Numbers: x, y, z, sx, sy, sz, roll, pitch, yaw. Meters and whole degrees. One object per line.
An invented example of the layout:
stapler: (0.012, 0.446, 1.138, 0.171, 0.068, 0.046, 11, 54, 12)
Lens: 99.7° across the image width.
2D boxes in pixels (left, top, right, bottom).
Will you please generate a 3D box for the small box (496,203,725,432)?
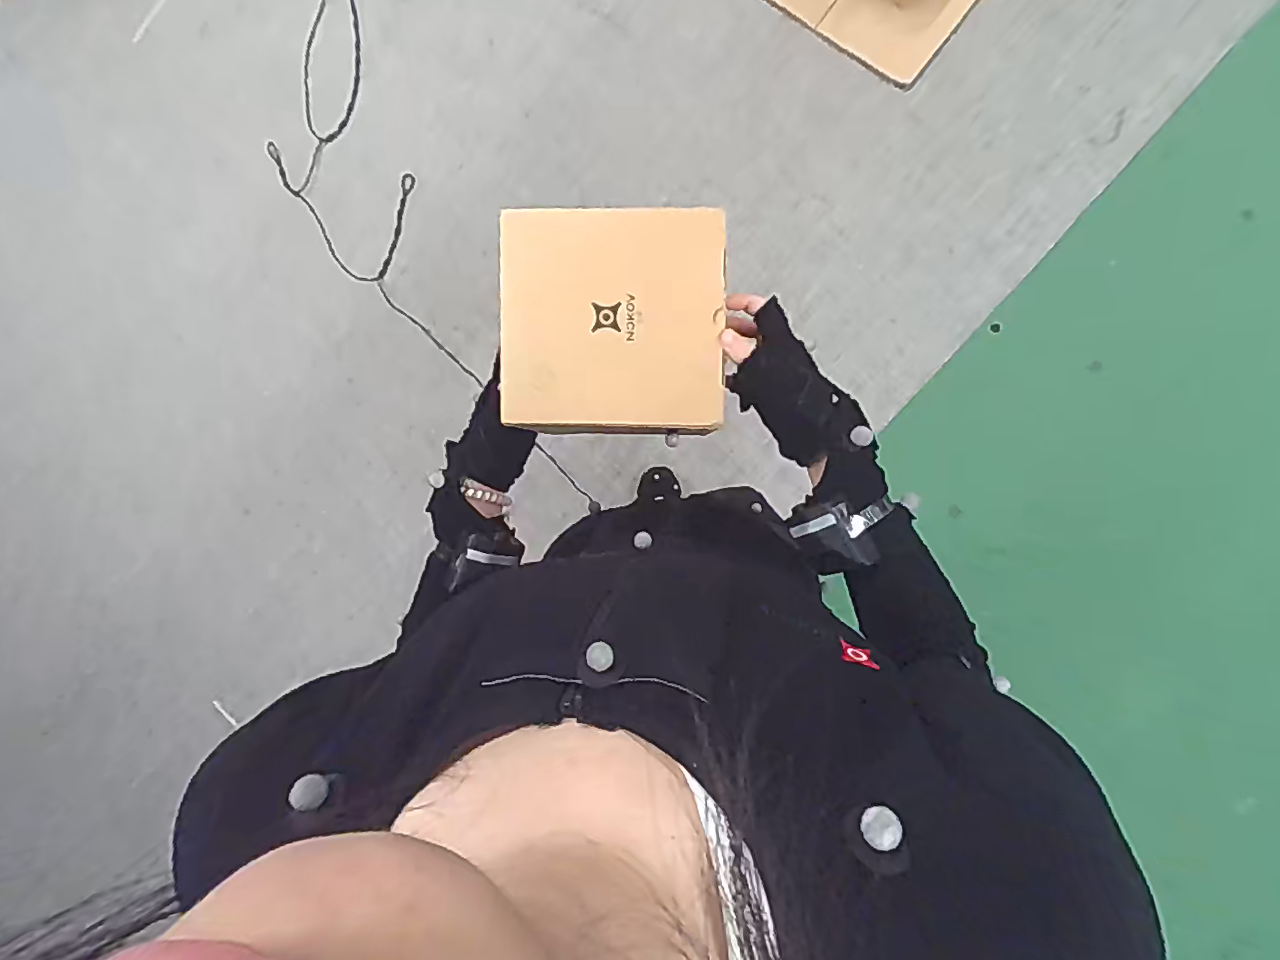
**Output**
small box: (-0.021, -0.130, 0.492, 0.179, 0.176, 0.168, 1, 93, 1)
